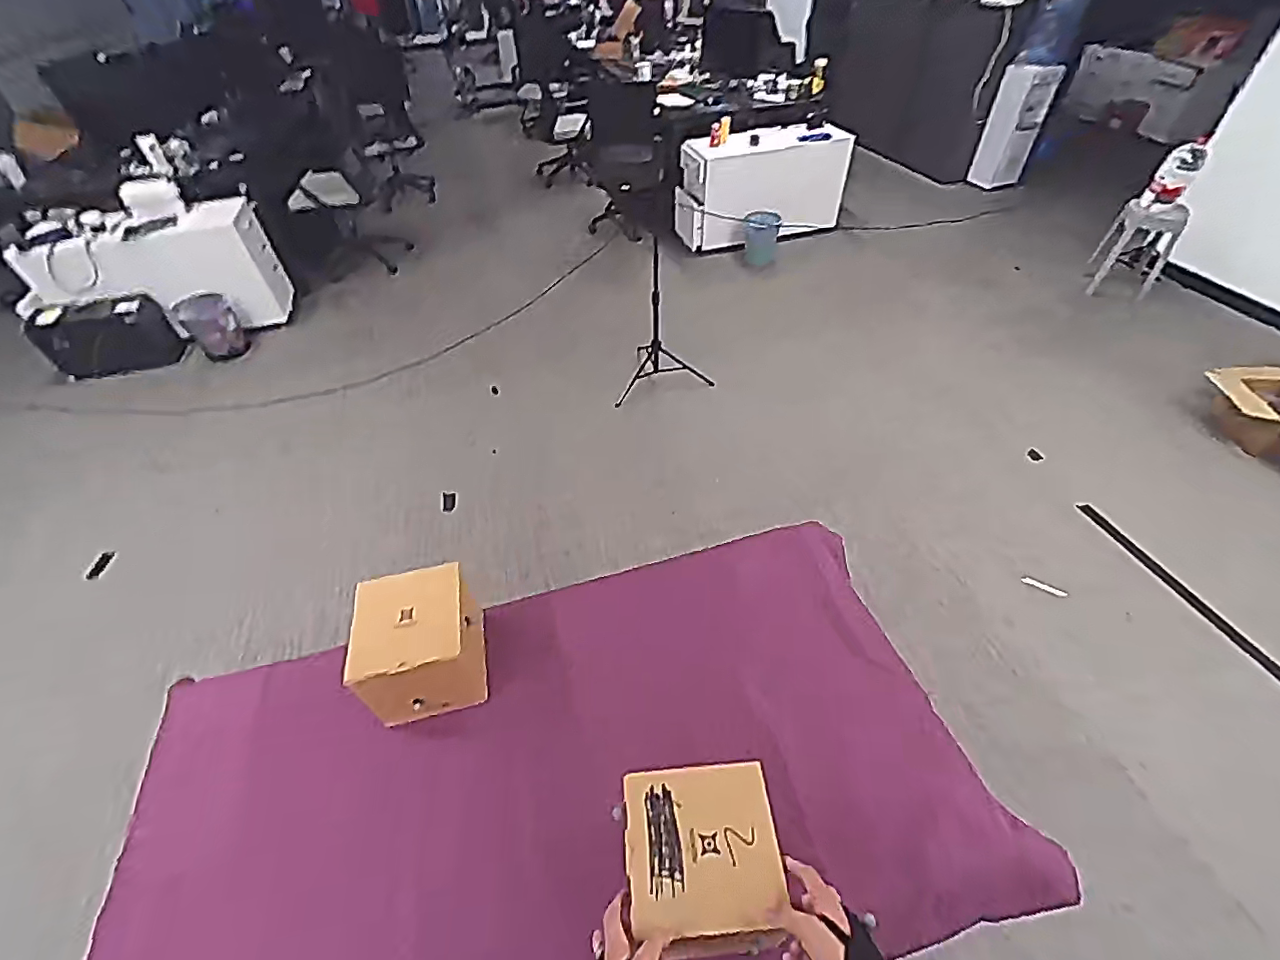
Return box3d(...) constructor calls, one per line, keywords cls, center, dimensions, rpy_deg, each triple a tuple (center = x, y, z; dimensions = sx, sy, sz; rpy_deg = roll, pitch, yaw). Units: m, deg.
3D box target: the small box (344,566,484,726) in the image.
box3d(cls="small box", center=(-0.363, 0.275, 0.897), dimensions=(0.168, 0.176, 0.179), rpy_deg=(-12, 47, -9))
